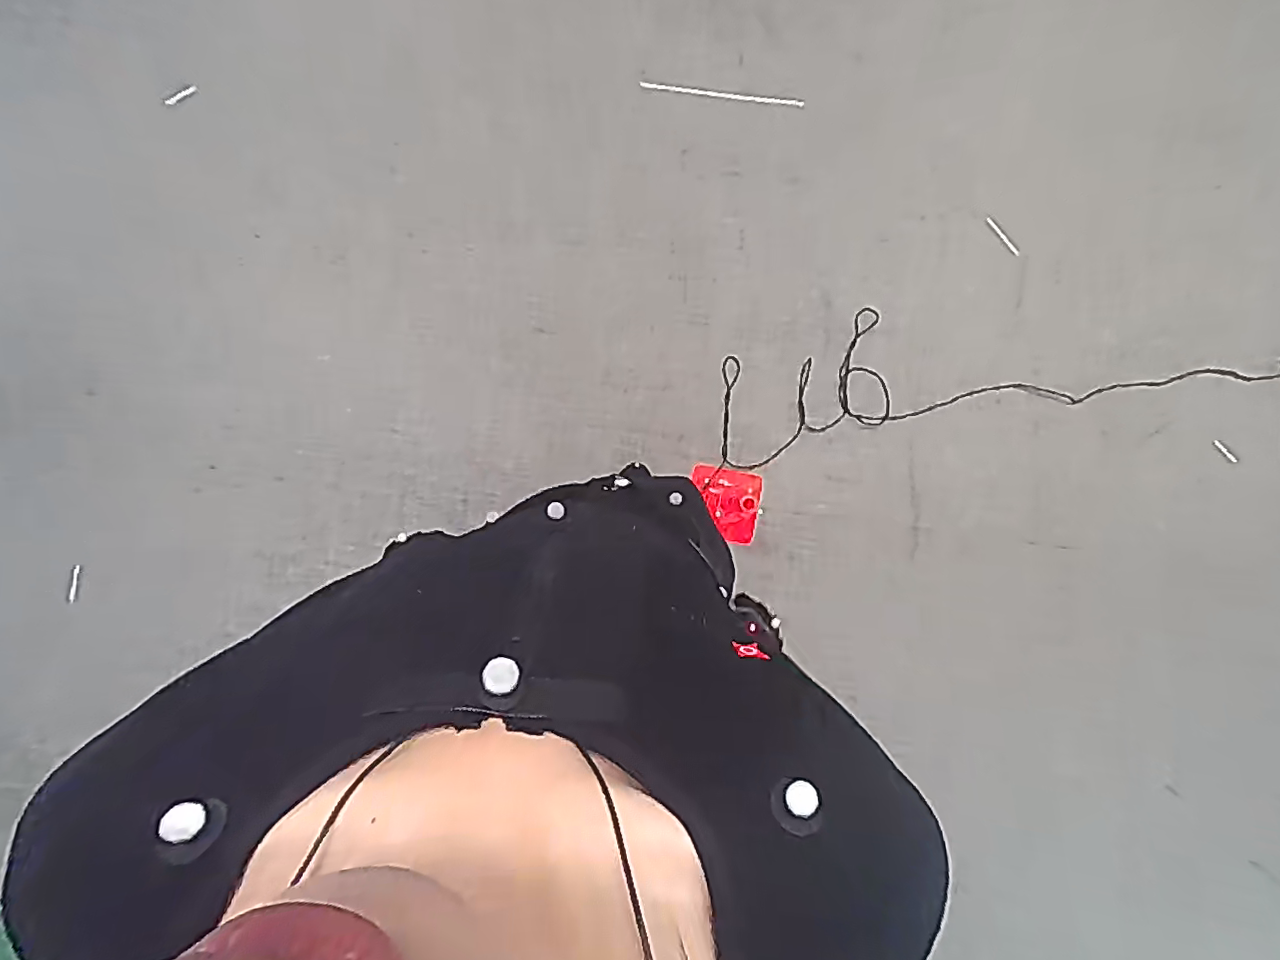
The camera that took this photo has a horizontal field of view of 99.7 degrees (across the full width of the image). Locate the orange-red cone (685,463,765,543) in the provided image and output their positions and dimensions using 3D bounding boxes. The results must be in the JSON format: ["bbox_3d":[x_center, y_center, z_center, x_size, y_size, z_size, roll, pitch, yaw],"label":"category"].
[{"bbox_3d":[0.235,0.059,1.333,0.198,0.360,0.199,12,89,1],"label":"orange-red cone"}]
